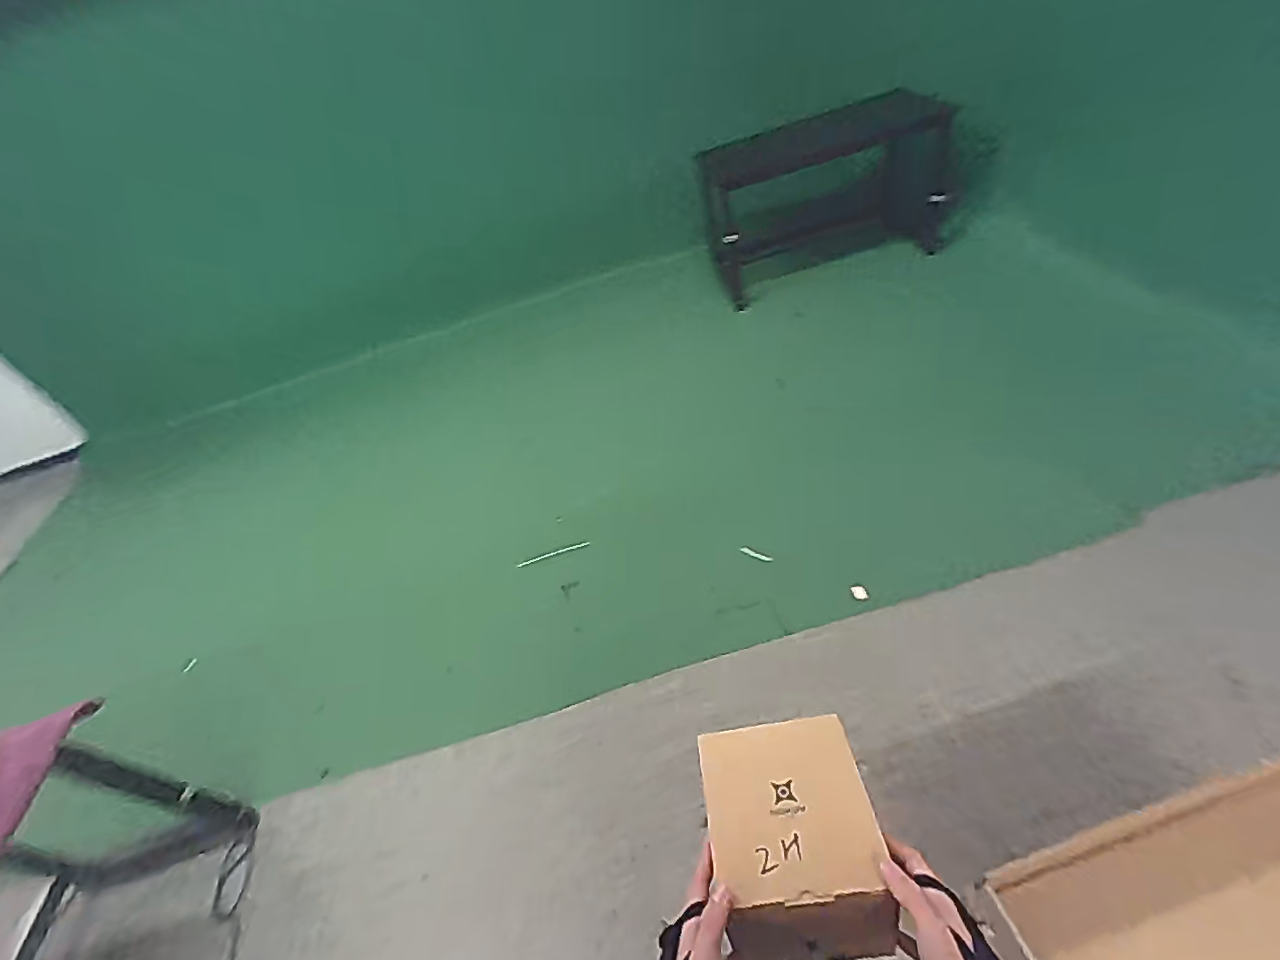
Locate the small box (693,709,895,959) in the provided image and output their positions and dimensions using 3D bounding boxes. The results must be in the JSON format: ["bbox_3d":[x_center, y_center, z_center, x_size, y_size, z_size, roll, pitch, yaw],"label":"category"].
[{"bbox_3d":[0.160,0.389,0.597,0.168,0.176,0.179,-13,33,5],"label":"small box"}]
